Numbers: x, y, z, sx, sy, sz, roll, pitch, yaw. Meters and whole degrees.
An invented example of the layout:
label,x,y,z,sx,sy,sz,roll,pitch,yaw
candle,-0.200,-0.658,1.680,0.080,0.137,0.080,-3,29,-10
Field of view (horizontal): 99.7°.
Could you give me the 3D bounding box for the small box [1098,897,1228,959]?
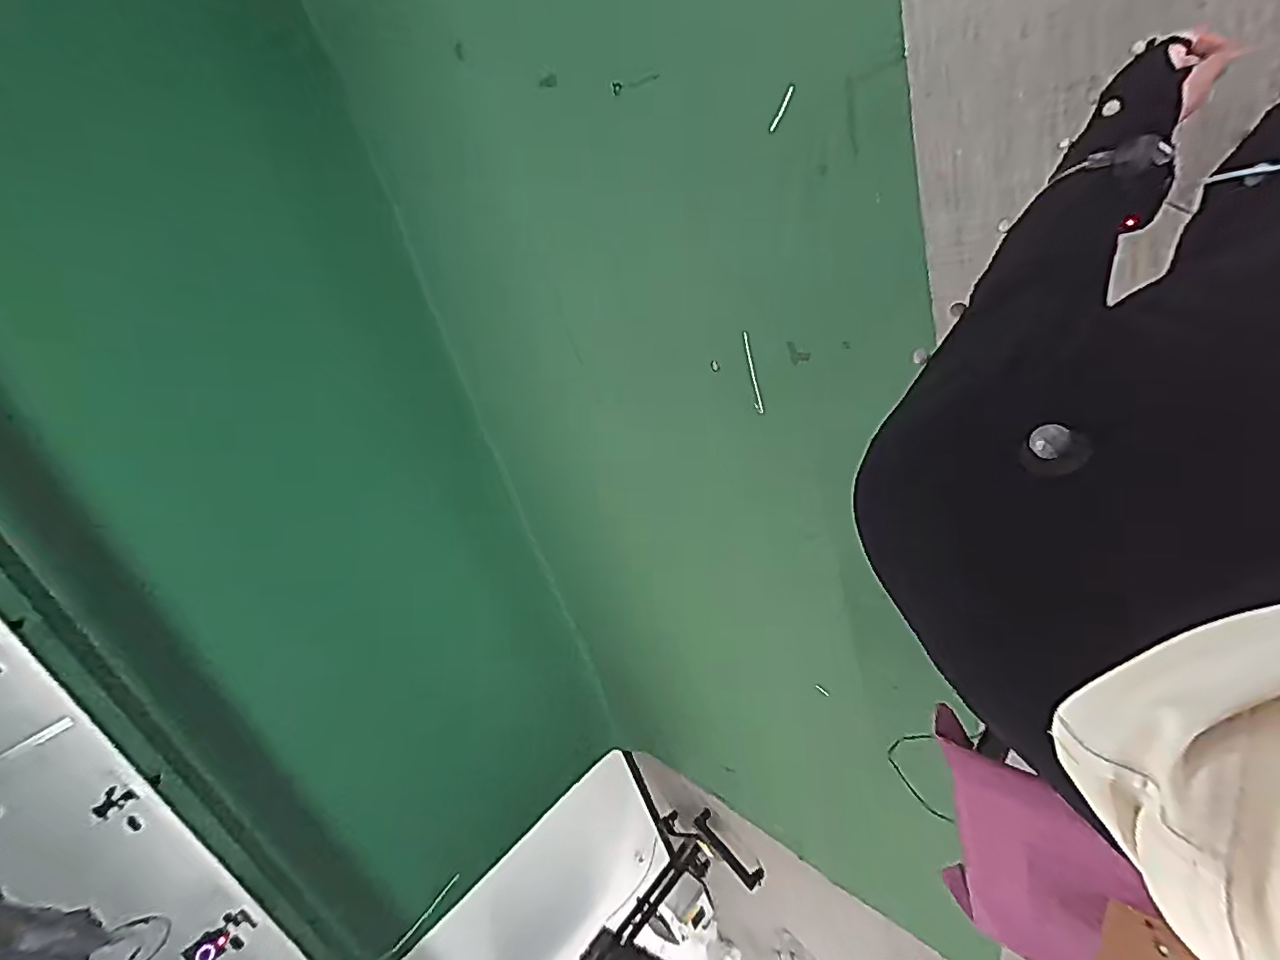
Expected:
label,x,y,z,sx,sy,sz,roll,pitch,yaw
small box,0.980,0.955,1.019,0.168,0.176,0.179,8,123,47
